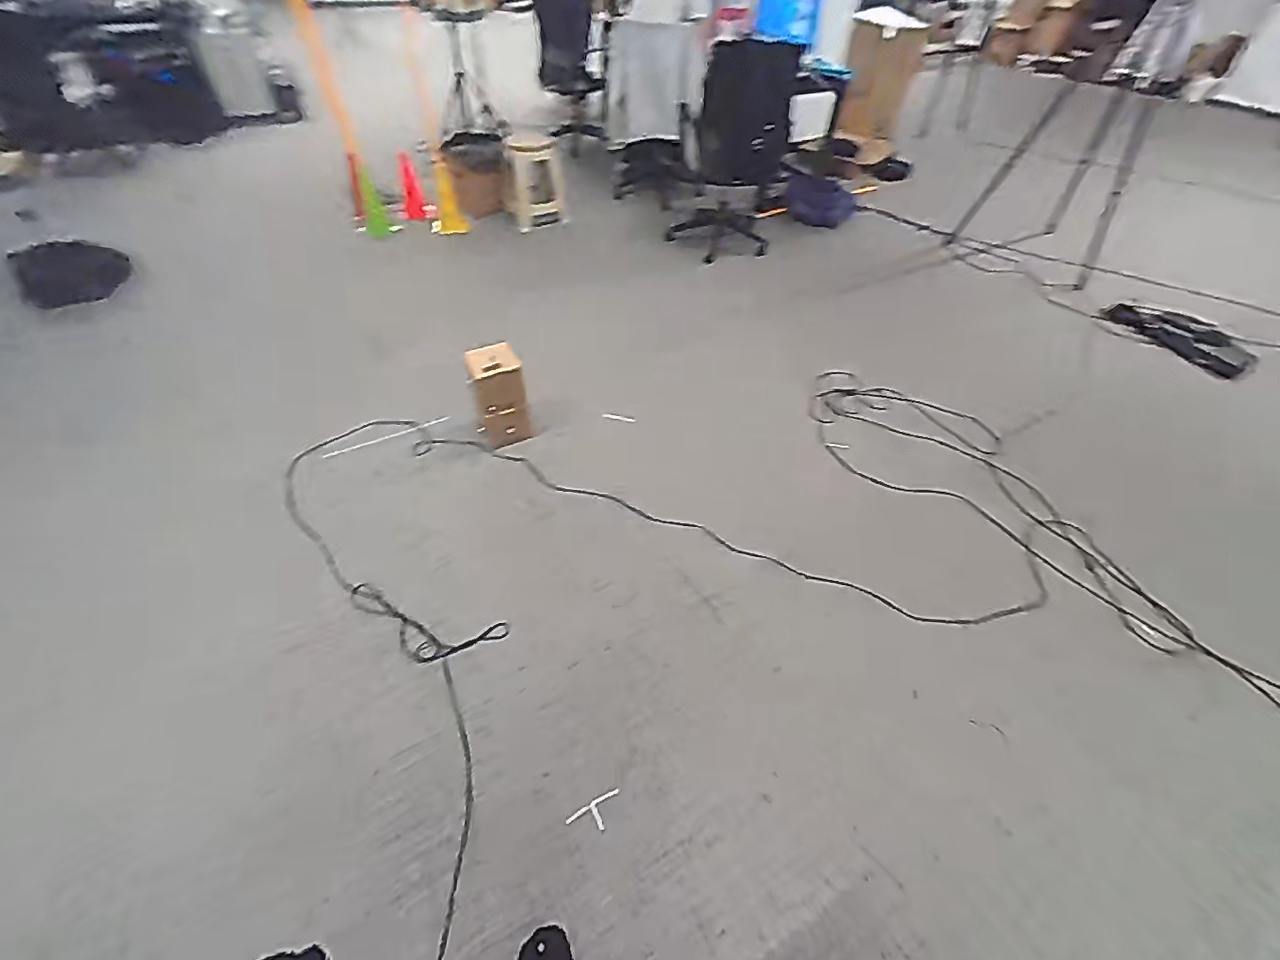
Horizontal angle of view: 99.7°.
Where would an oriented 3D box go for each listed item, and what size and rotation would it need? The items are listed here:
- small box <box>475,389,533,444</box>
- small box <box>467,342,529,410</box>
[{"bbox_3d":[-0.526,-0.259,2.100,0.168,0.176,0.179,-20,54,-24],"label":"small box"},{"bbox_3d":[-0.518,-0.375,1.980,0.168,0.176,0.179,-20,51,-19],"label":"small box"}]
